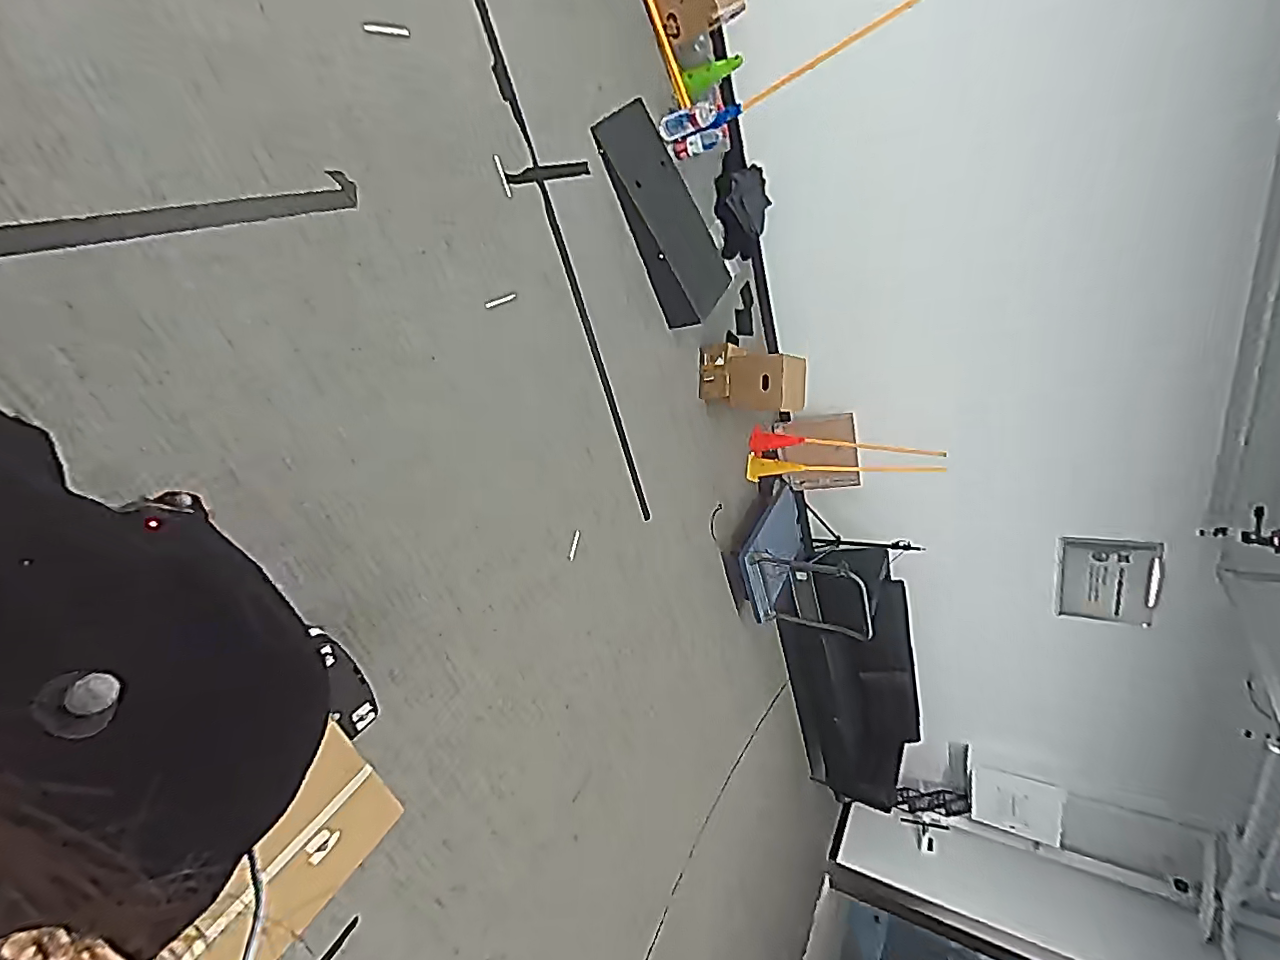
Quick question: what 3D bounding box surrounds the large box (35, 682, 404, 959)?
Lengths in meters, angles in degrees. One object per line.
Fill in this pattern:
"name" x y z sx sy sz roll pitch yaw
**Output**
"large box" -0.760 0.668 1.025 0.408 0.320 0.320 -47 128 -45
